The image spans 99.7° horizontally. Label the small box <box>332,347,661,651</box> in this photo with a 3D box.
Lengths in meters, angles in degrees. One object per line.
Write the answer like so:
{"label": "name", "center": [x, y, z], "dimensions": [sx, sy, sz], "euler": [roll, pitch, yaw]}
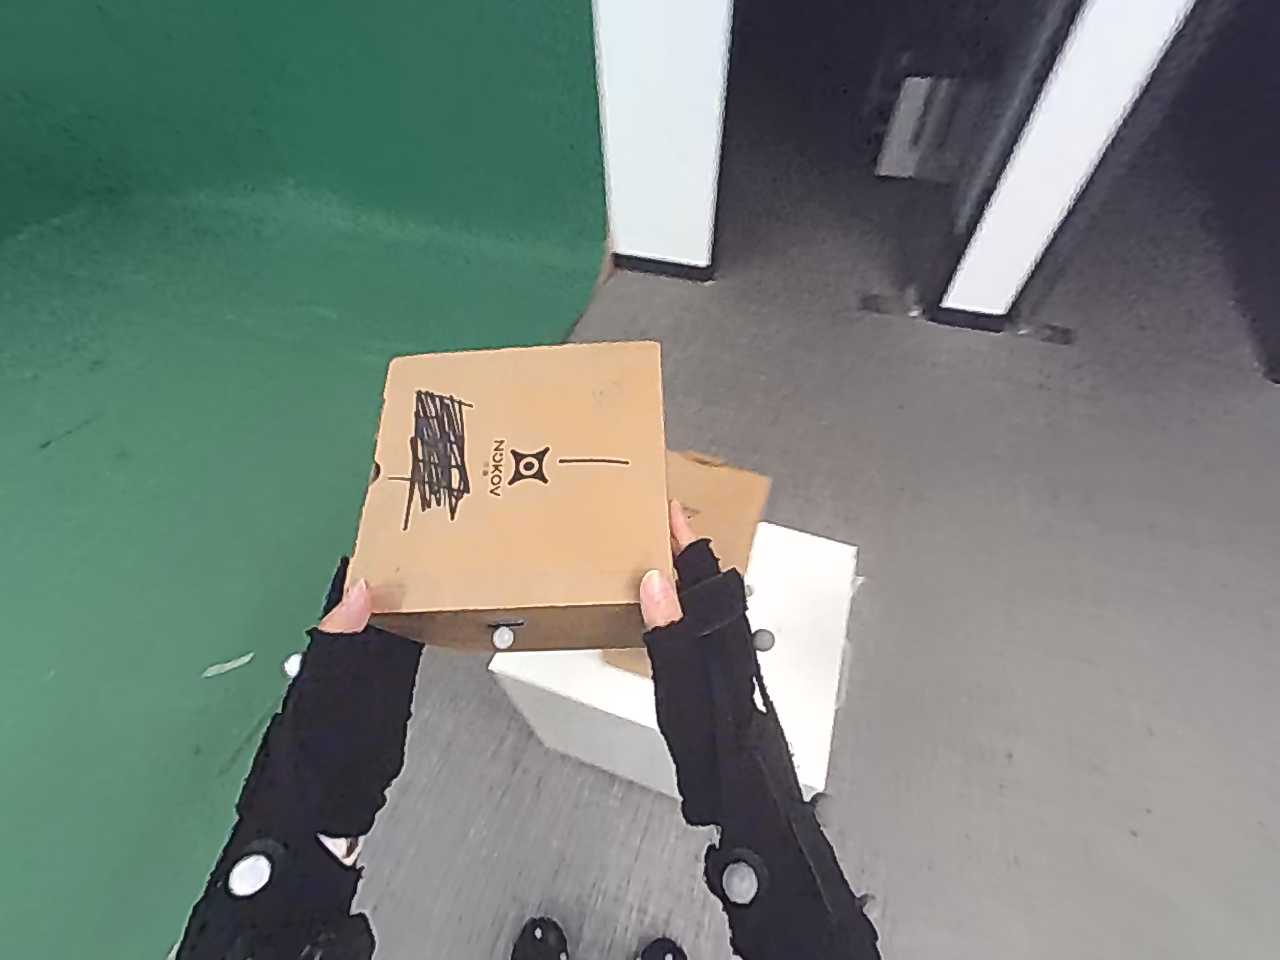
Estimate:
{"label": "small box", "center": [-0.077, 0.026, 0.390], "dimensions": [0.179, 0.176, 0.168], "euler": [-3, 66, 1]}

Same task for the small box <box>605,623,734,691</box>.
{"label": "small box", "center": [0.050, 0.191, 0.802], "dimensions": [0.179, 0.176, 0.168], "euler": [15, 55, 12]}

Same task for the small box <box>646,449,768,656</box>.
{"label": "small box", "center": [0.050, 0.091, 0.676], "dimensions": [0.168, 0.176, 0.179], "euler": [14, 55, 11]}
